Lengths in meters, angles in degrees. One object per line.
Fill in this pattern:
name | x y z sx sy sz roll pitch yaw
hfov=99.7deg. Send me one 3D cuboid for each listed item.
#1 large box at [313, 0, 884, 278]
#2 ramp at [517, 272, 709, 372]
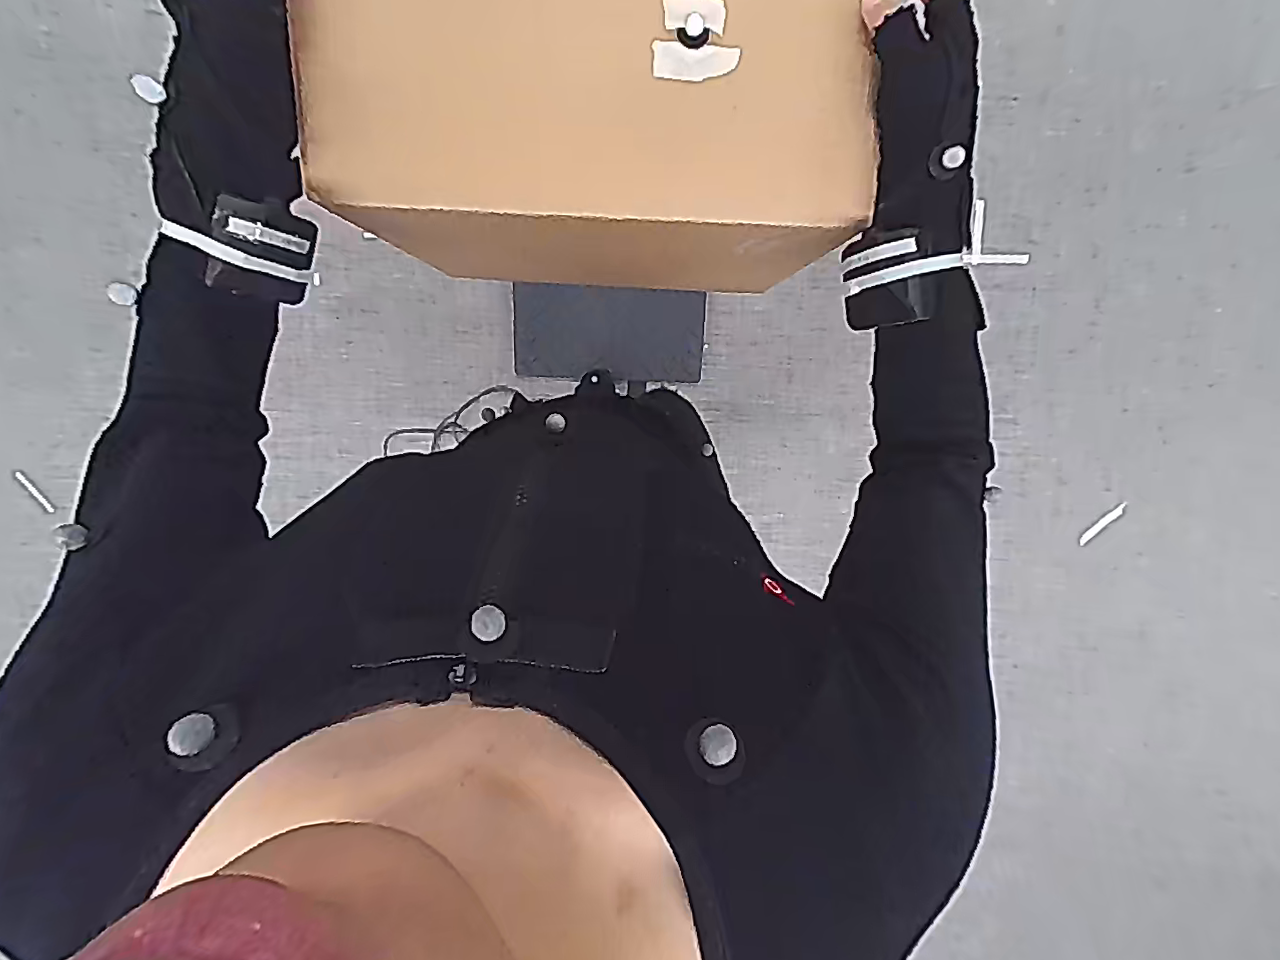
large box | -0.031 -0.384 0.518 0.408 0.320 0.320 2 102 -2
ramp | -0.058 -0.767 1.285 0.509 0.206 0.991 0 98 -2
